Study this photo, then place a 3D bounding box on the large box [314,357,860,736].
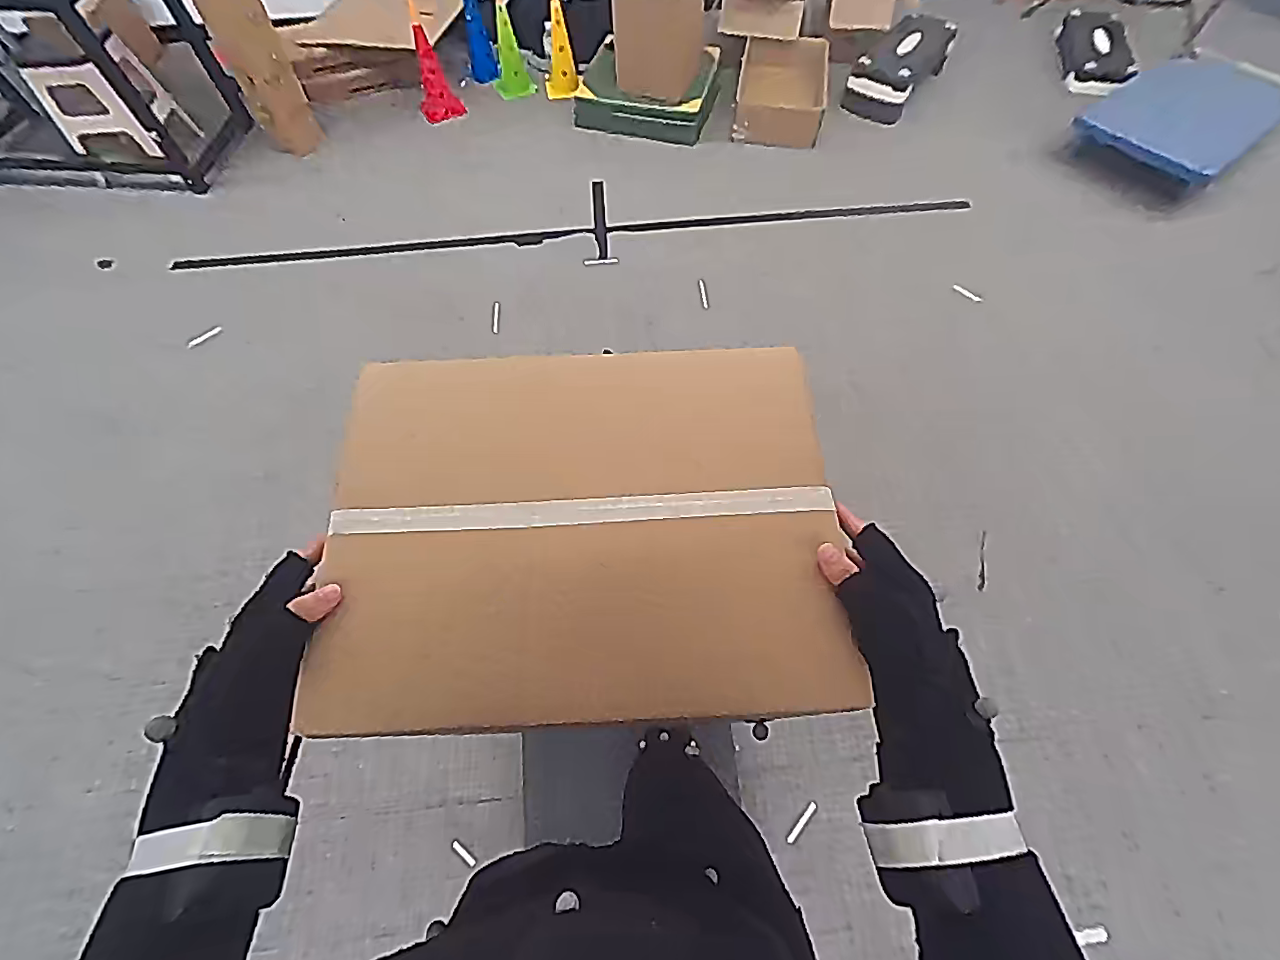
[{"bbox_3d":[-0.043,0.091,0.584,0.408,0.320,0.320,-2,65,-1],"label":"large box"}]
